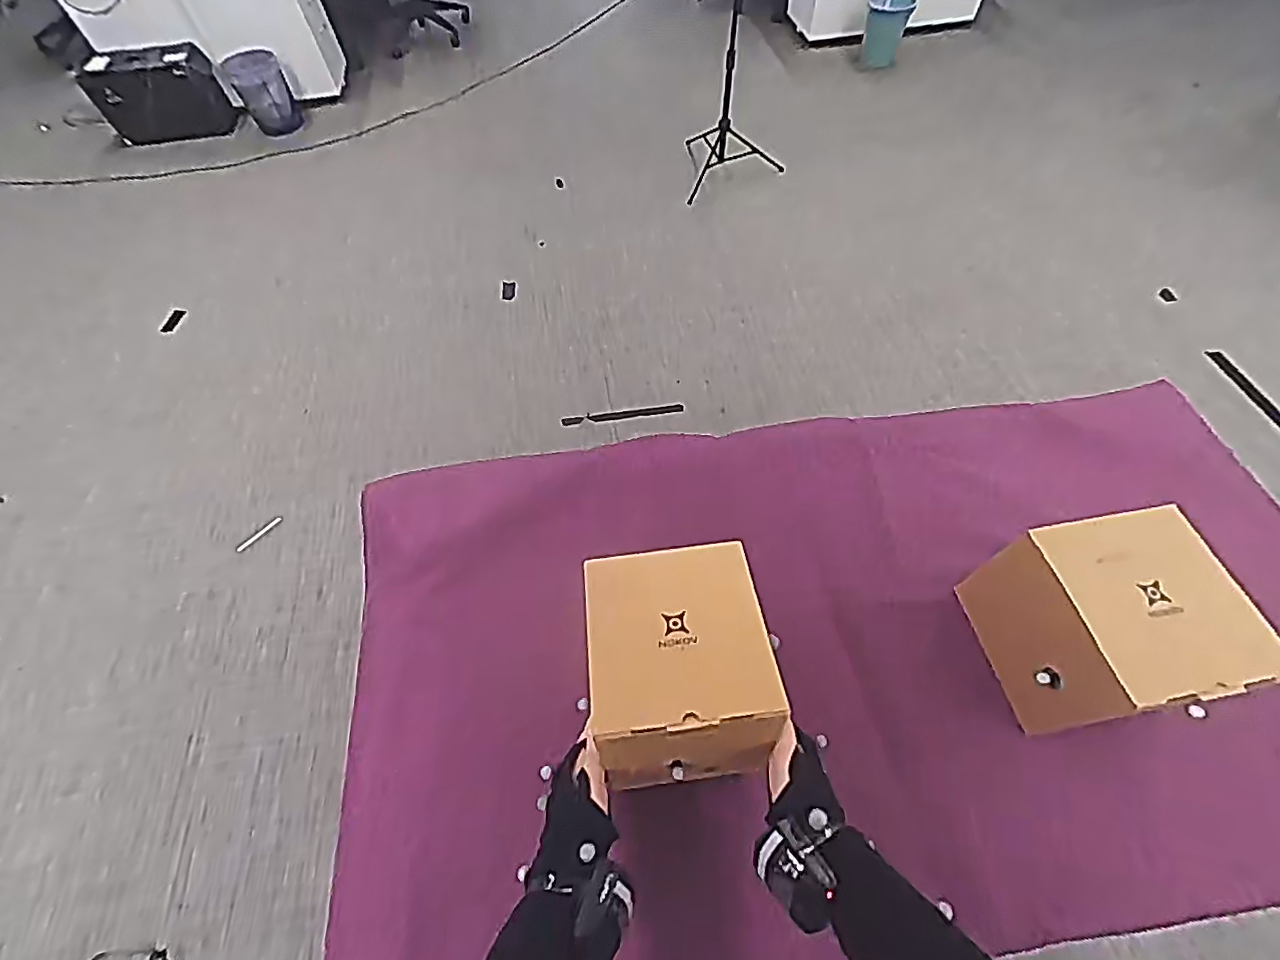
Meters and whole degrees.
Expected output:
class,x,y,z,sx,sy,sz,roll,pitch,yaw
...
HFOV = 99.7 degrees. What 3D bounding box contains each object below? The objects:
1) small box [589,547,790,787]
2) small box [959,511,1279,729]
class,x,y,z,sx,sy,sz,roll,pitch,yaw
small box,0.038,0.194,0.559,0.168,0.176,0.179,-7,50,-3
small box,0.488,0.157,0.577,0.168,0.176,0.179,-9,58,-3
